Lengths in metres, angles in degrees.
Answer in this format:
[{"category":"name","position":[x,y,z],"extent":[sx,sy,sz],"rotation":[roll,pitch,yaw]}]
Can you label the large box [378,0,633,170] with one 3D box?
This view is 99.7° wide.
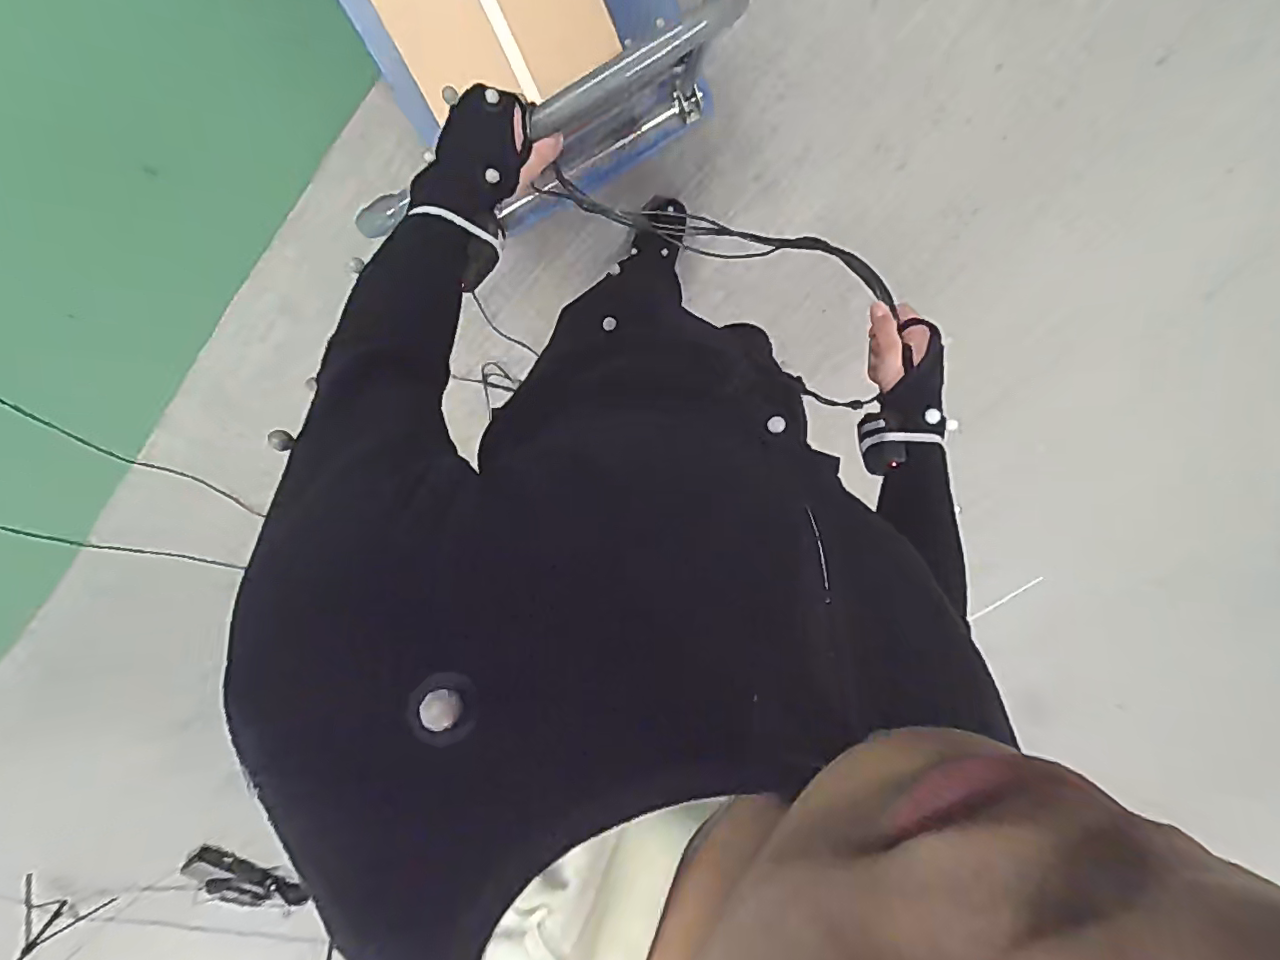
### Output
[{"category":"large box","position":[-0.235,-0.814,0.928],"extent":[0.320,0.320,0.408],"rotation":[-23,116,11]}]
